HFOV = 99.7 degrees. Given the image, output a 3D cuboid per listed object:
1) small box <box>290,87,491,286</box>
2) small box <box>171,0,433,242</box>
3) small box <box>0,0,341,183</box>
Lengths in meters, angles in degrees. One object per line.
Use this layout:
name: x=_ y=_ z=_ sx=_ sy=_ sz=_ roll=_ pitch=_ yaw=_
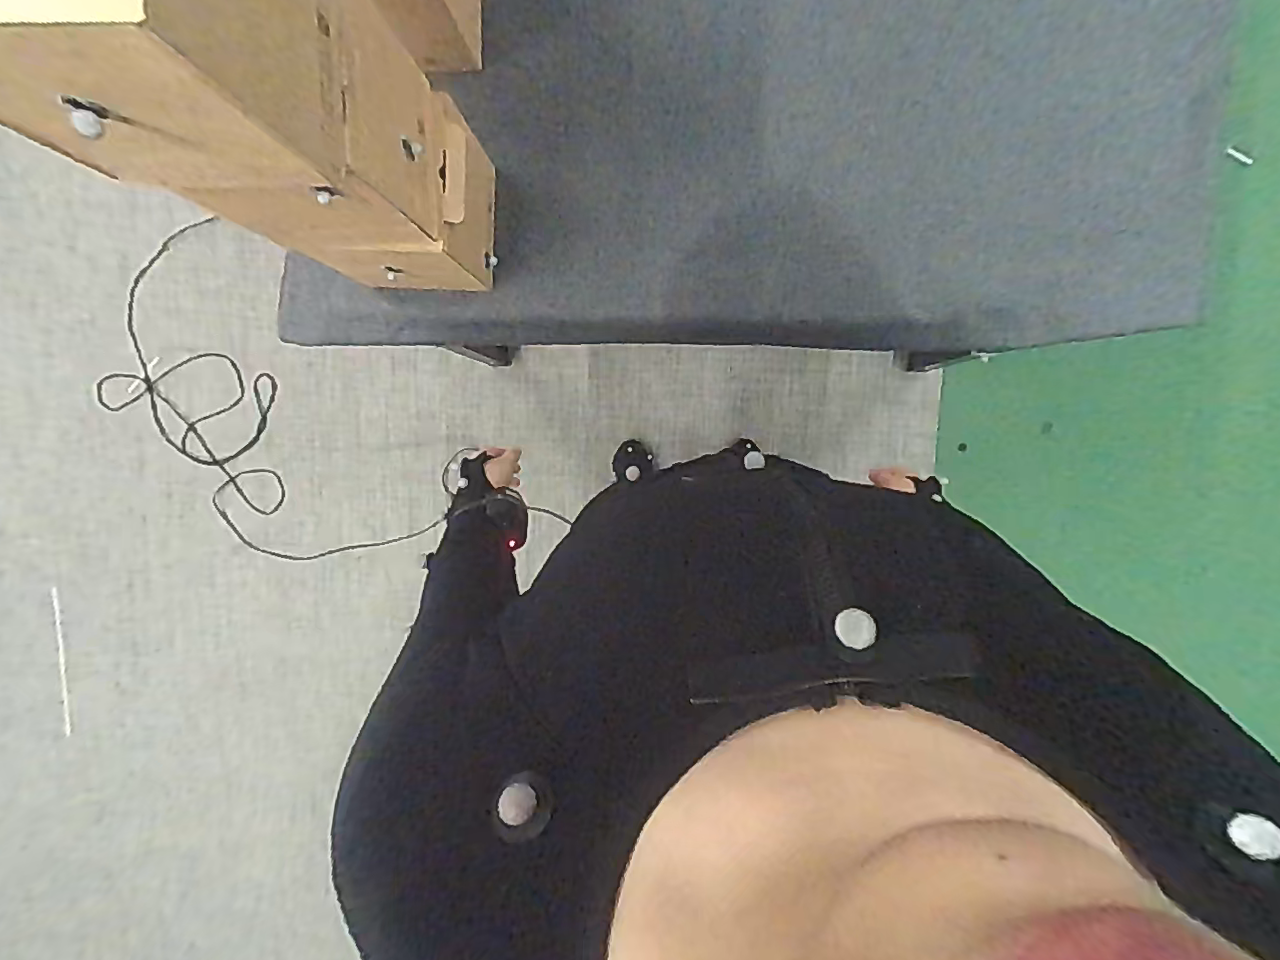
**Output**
small box: x=-0.290 y=-0.342 z=0.655 sx=0.179 sy=0.176 sz=0.168 roll=3 pitch=96 yaw=3
small box: x=-0.312 y=-0.330 z=0.495 sx=0.179 sy=0.176 sz=0.168 roll=-2 pitch=95 yaw=2
small box: x=-0.318 y=-0.303 z=0.333 sx=0.179 sy=0.176 sz=0.168 roll=0 pitch=95 yaw=3
